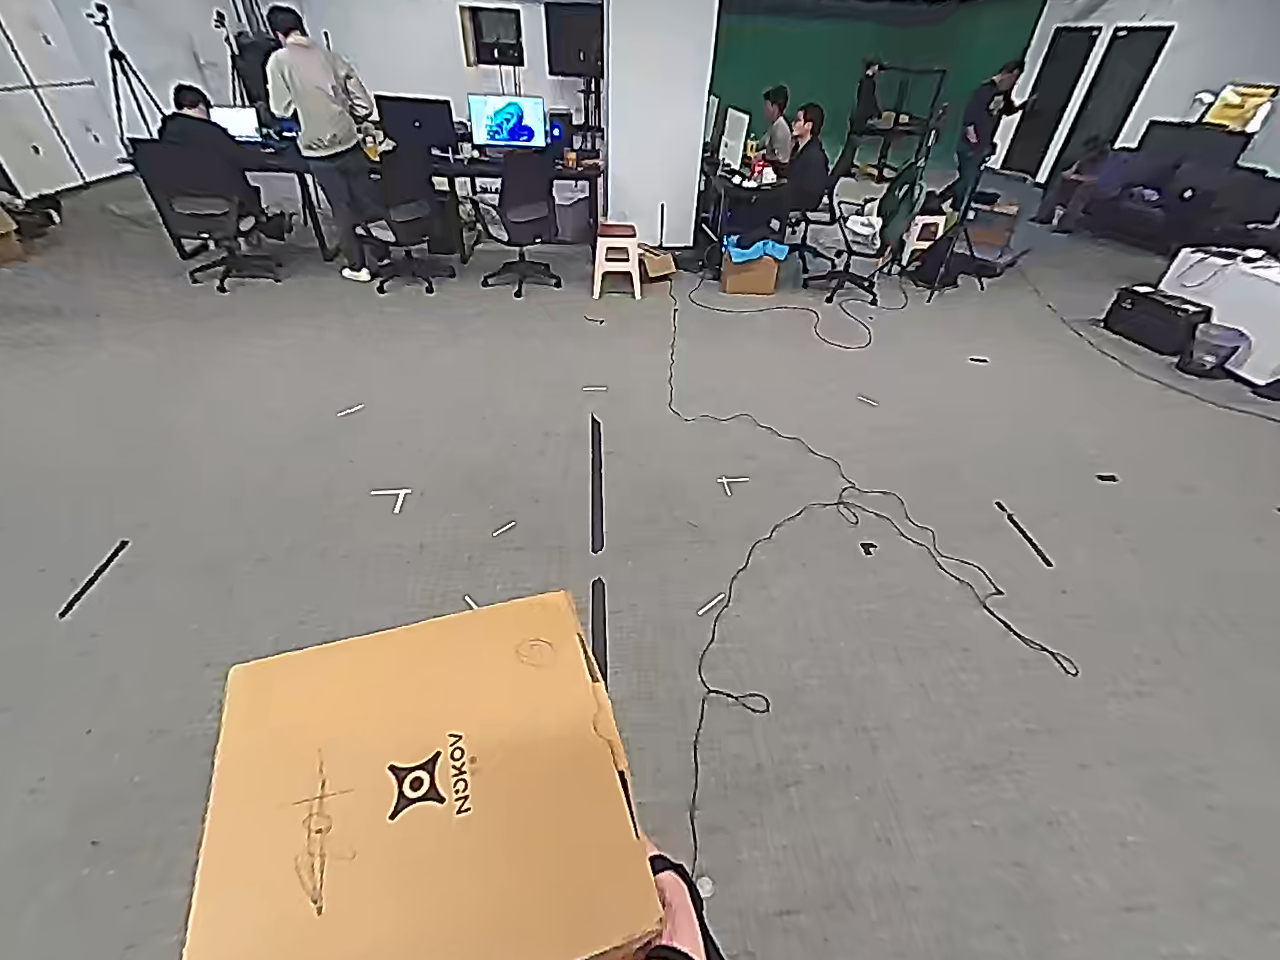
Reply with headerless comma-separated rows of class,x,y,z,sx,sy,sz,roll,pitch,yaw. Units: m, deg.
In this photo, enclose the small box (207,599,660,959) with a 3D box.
small box,-0.104,0.200,0.313,0.179,0.176,0.168,-12,49,-16
